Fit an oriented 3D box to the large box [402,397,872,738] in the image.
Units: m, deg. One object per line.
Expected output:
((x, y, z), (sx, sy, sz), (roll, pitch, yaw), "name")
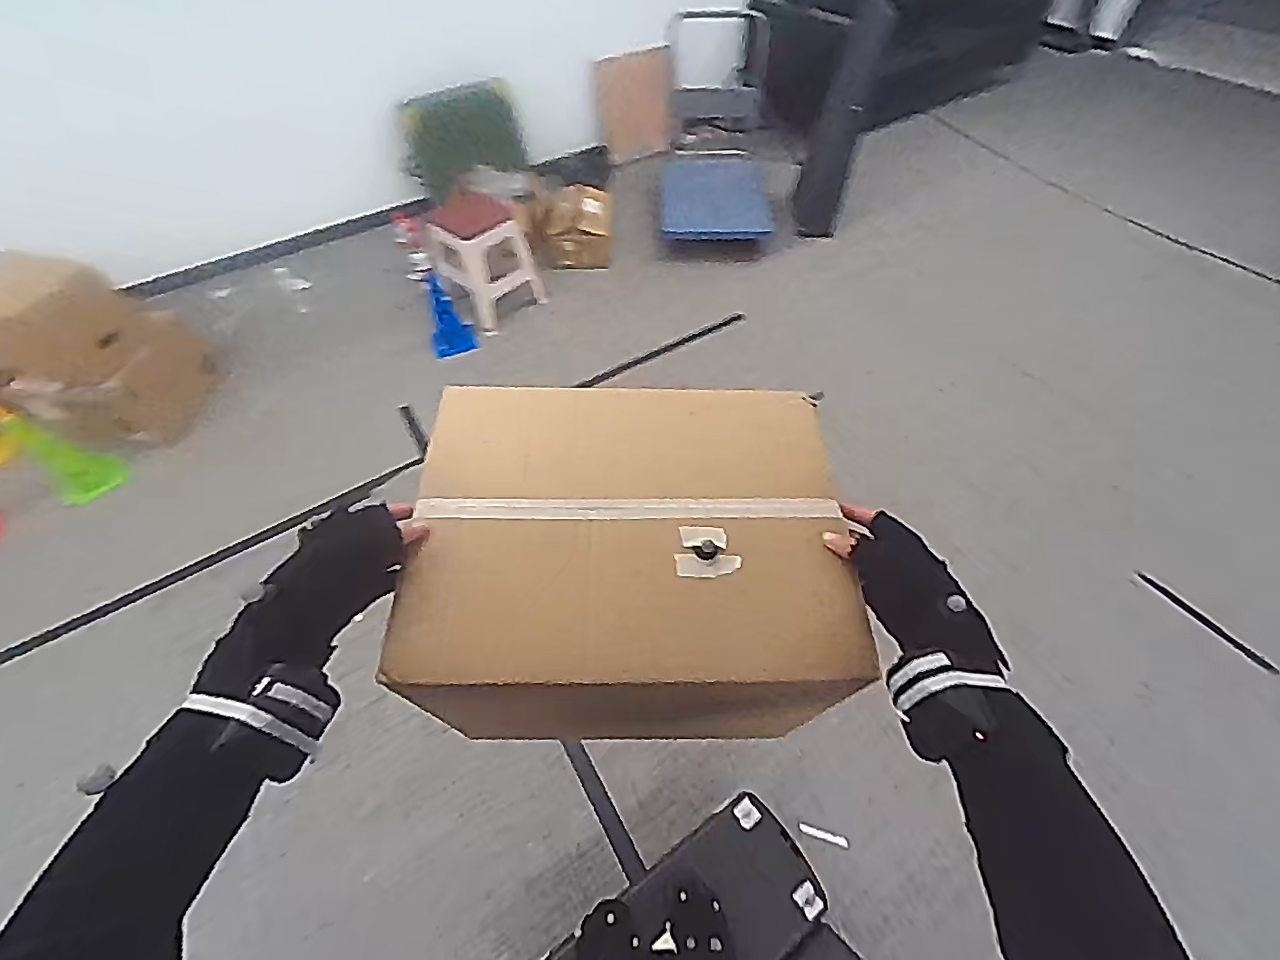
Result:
((-0.010, 0.117, 0.653), (0.408, 0.320, 0.320), (1, 57, -3), "large box")

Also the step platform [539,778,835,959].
((0.103, 0.997, 1.204), (0.684, 0.204, 0.286), (-30, 58, -20), "step platform")
